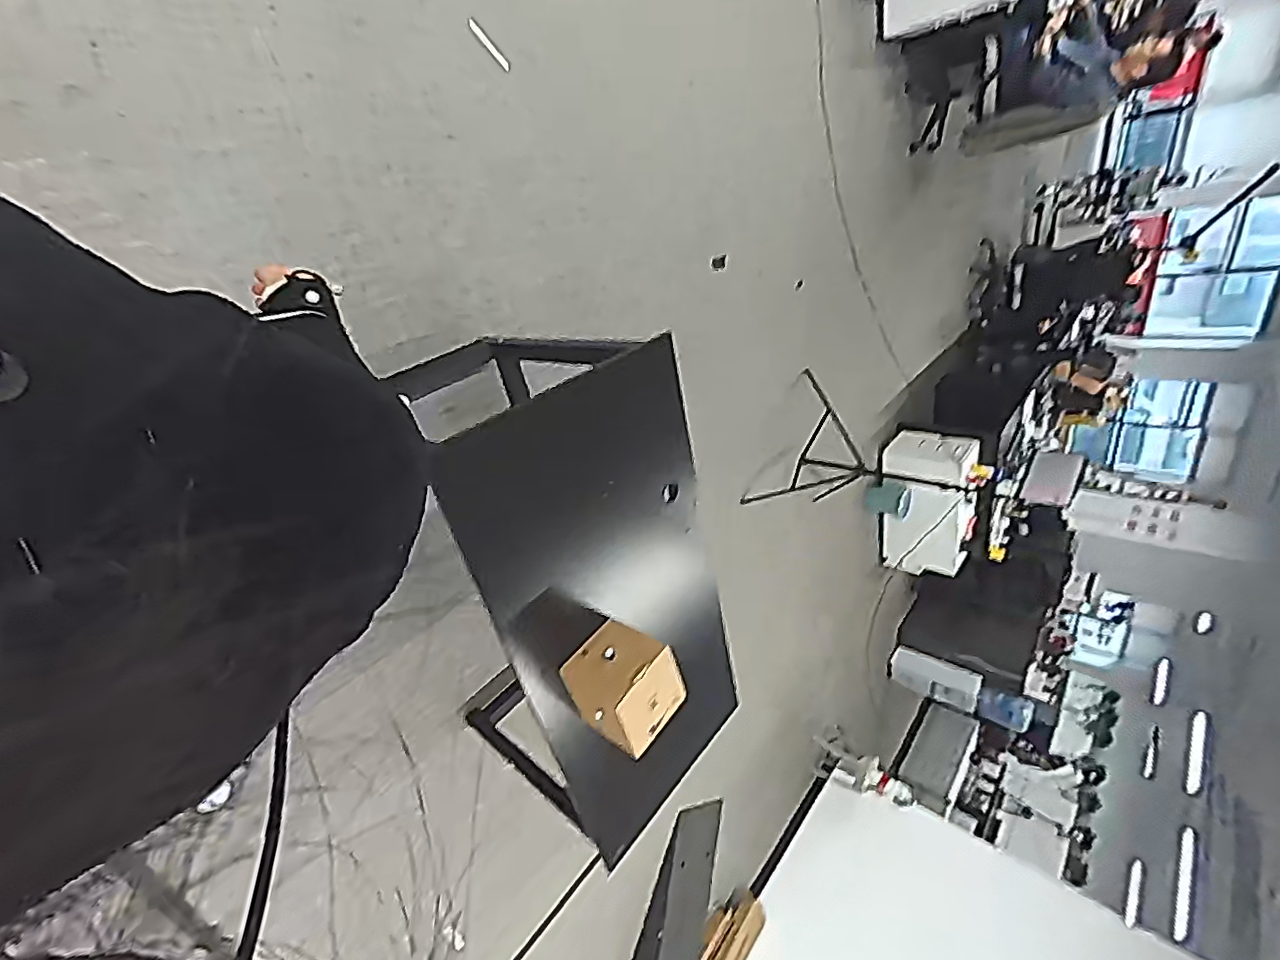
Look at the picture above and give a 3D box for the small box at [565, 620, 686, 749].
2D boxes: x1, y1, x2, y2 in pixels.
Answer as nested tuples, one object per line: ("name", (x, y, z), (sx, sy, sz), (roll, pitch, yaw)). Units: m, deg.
("small box", (-0.032, 0.420, 1.147), (0.168, 0.176, 0.179), (-41, 127, -34))
